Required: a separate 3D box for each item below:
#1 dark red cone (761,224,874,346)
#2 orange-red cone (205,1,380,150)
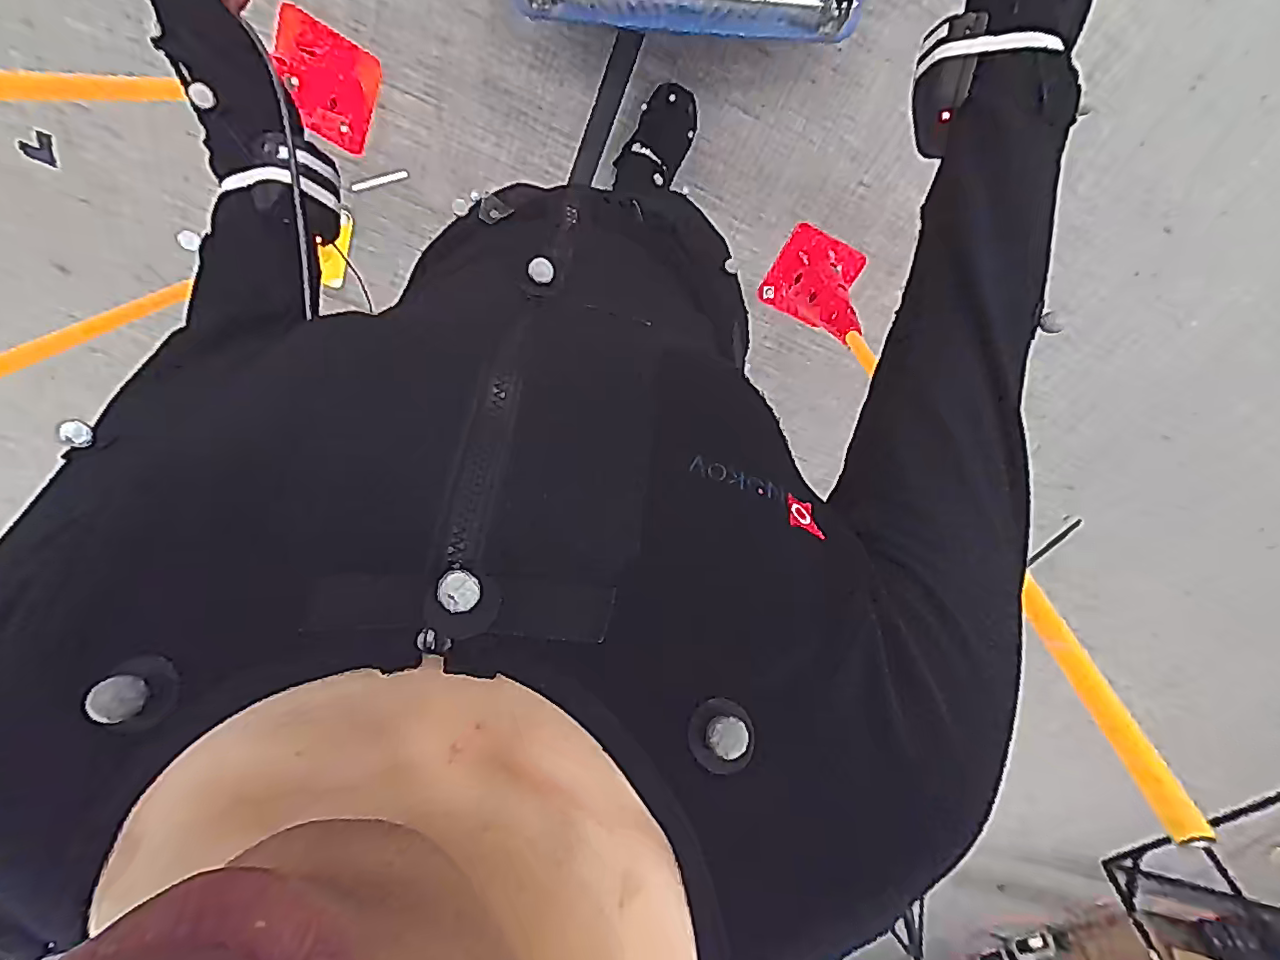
[{"bbox_3d":[0.415,-0.386,1.164,0.201,0.394,0.202,19,126,-15],"label":"dark red cone"},{"bbox_3d":[-0.653,-0.719,0.973,0.198,0.360,0.199,26,122,-18],"label":"orange-red cone"}]
